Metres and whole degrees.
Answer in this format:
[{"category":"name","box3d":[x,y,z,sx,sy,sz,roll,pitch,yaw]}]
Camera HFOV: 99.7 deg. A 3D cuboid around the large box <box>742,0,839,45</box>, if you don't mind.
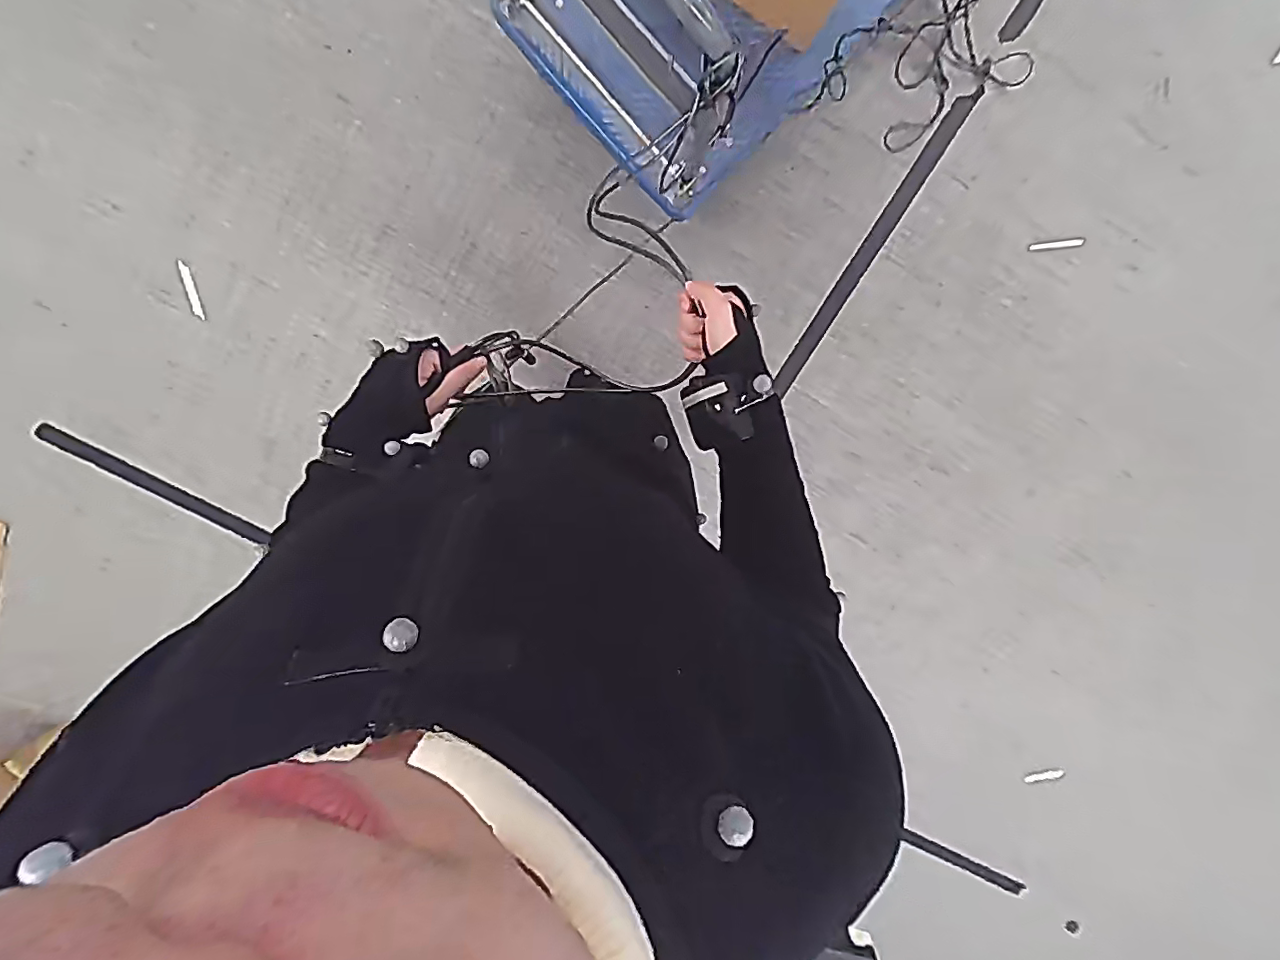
[{"category":"large box","box3d":[0.252,-1.071,0.906,0.408,0.320,0.320,29,102,-10]}]
